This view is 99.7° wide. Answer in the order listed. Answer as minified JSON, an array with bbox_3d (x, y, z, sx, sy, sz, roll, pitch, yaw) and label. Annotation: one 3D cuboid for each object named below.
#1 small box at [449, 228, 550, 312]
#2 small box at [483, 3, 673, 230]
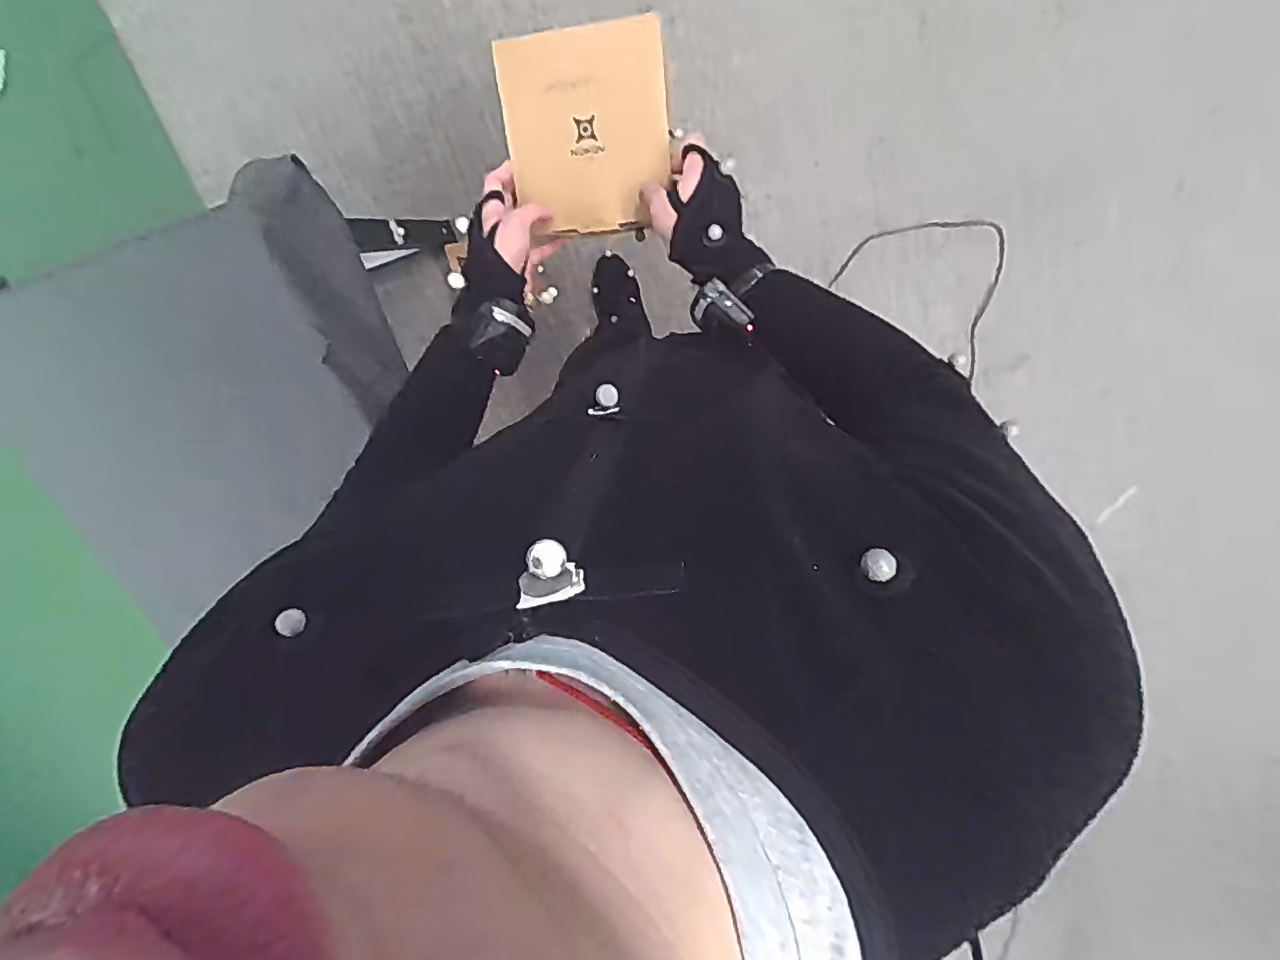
[{"bbox_3d":[-0.339,-0.521,1.340,0.179,0.176,0.168,-7,114,7],"label":"small box"},{"bbox_3d":[-0.053,-0.383,0.606,0.168,0.176,0.179,-2,112,8],"label":"small box"}]
